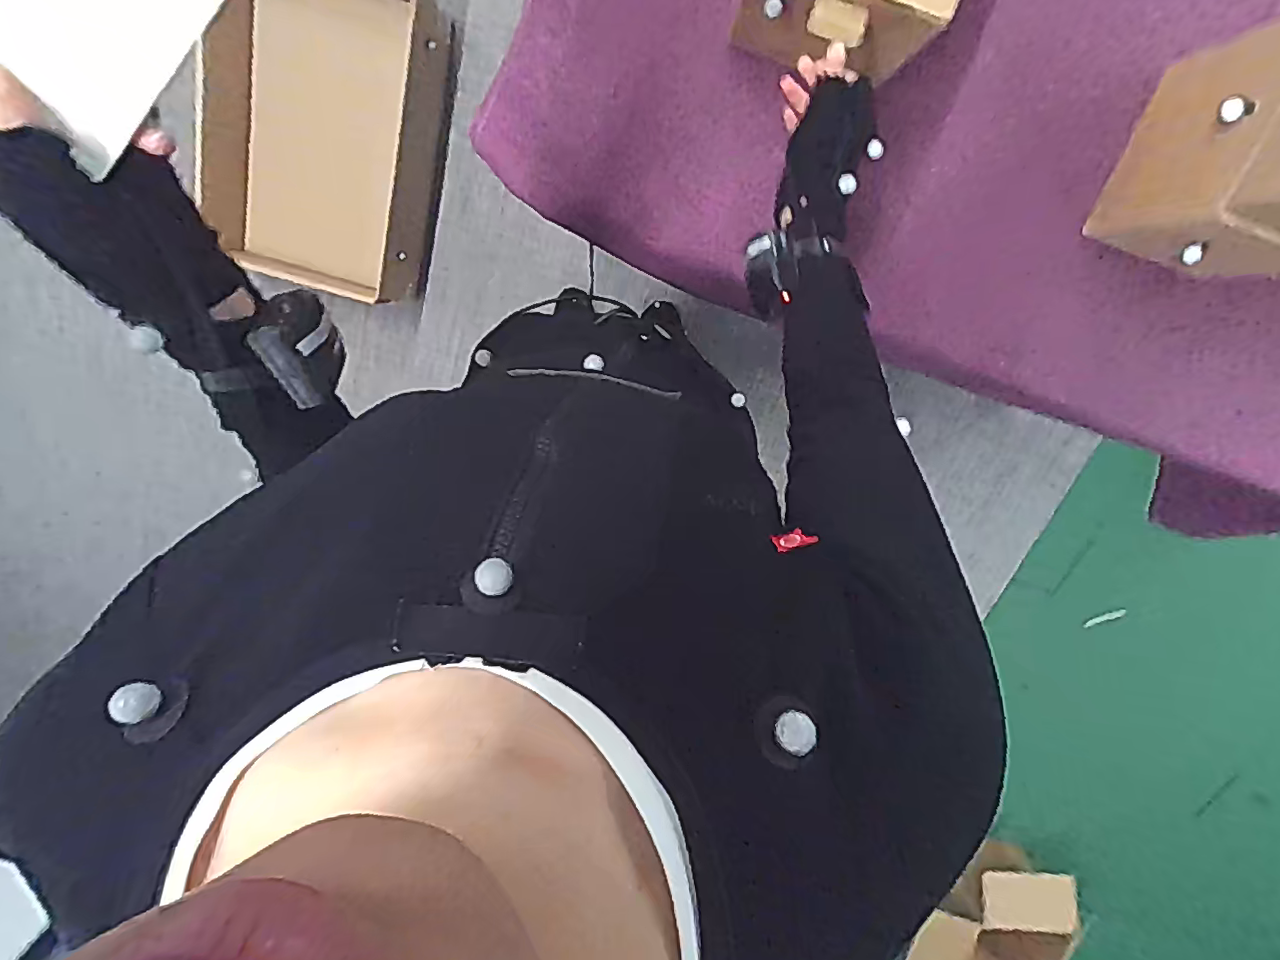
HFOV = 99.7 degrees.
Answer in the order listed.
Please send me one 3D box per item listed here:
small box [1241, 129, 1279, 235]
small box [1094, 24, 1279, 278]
[{"bbox_3d":[0.619,-0.262,0.381,0.168,0.176,0.179,20,108,-6],"label":"small box"},{"bbox_3d":[0.616,-0.312,0.539,0.168,0.176,0.179,17,108,-5],"label":"small box"}]
